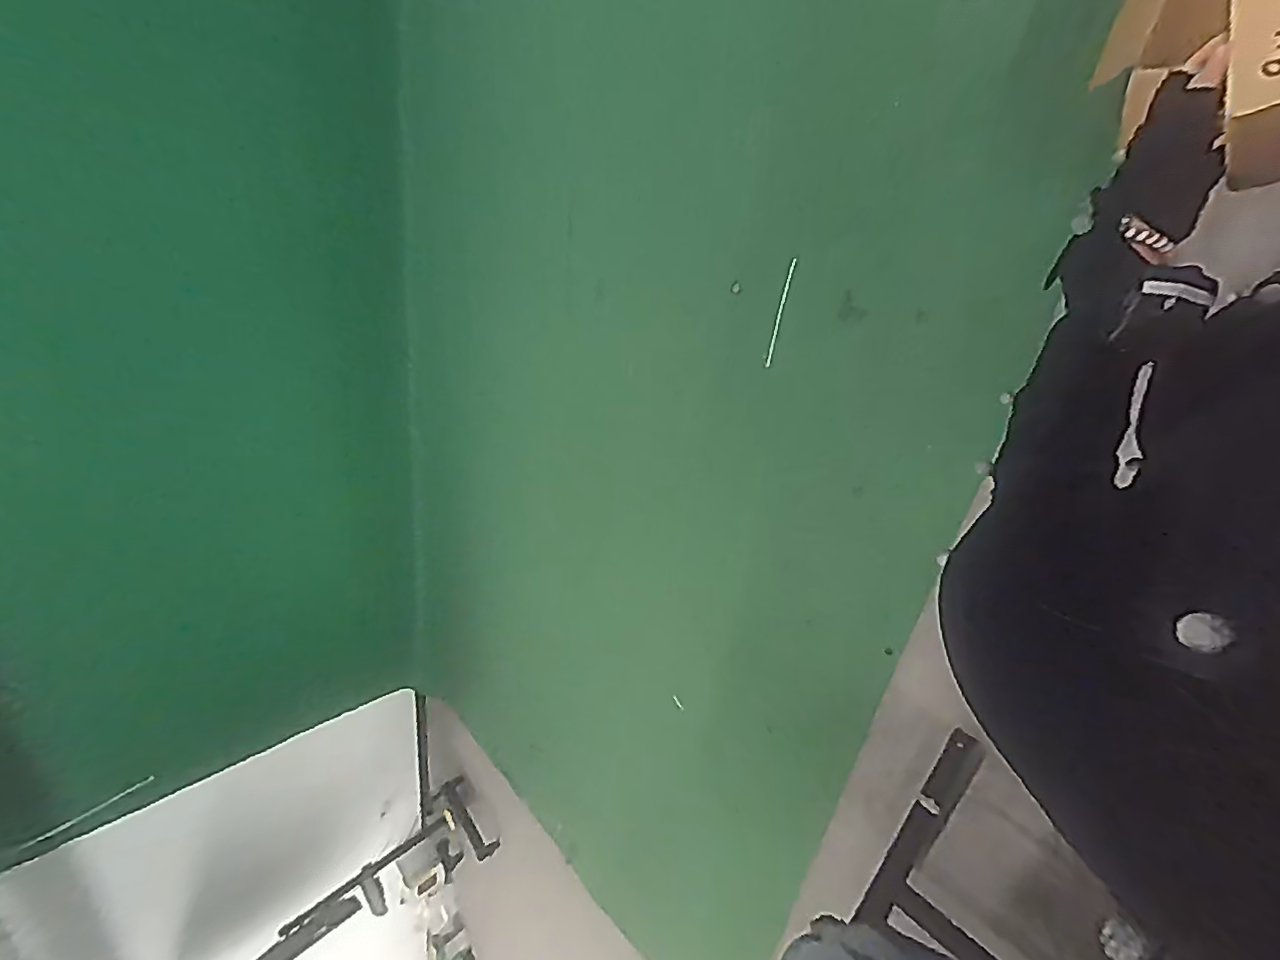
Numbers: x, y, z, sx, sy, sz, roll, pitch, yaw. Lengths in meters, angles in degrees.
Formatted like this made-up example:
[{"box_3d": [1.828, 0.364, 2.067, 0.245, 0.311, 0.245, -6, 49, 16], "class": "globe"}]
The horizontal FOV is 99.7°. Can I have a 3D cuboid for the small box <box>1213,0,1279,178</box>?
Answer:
[{"box_3d": [0.475, -0.313, 0.322, 0.179, 0.176, 0.168, 4, 98, 47], "class": "small box"}]
